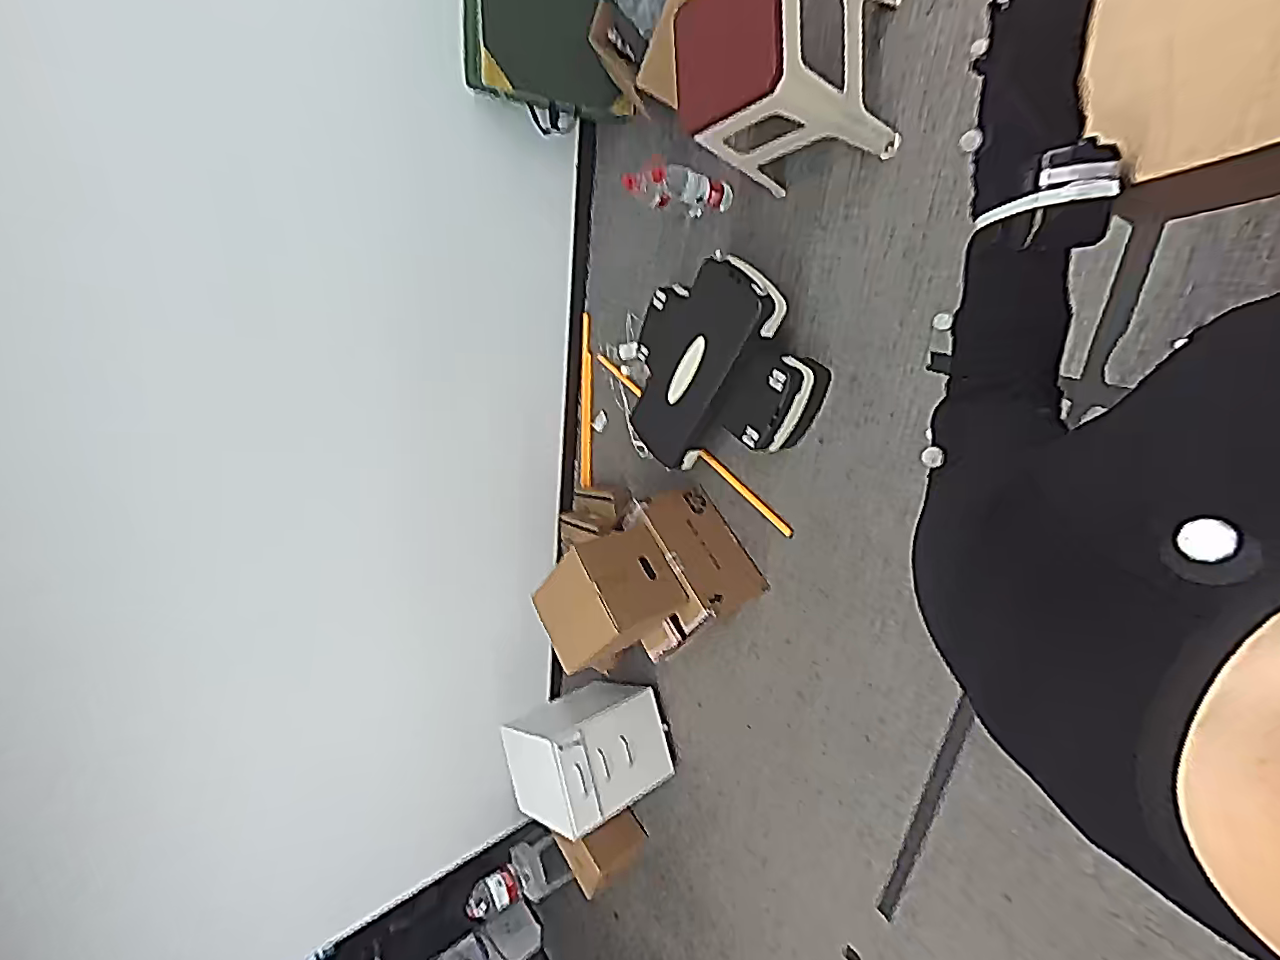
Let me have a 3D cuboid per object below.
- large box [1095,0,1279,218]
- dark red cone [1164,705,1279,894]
[{"bbox_3d":[0.547,-0.392,0.320,0.408,0.320,0.320,3,106,47],"label":"large box"},{"bbox_3d":[1.060,0.588,0.947,0.202,0.394,0.201,34,123,40],"label":"dark red cone"}]
